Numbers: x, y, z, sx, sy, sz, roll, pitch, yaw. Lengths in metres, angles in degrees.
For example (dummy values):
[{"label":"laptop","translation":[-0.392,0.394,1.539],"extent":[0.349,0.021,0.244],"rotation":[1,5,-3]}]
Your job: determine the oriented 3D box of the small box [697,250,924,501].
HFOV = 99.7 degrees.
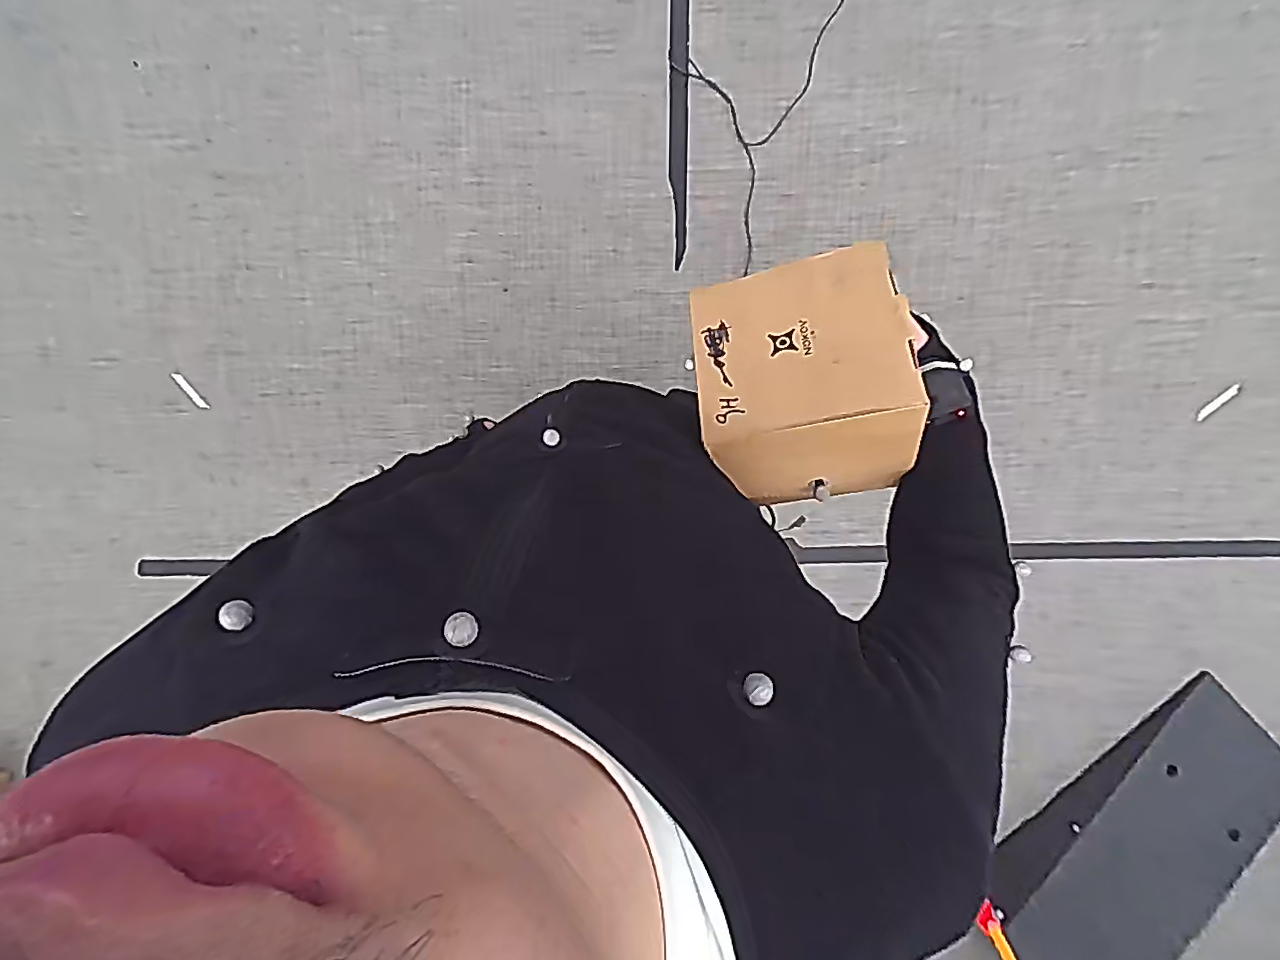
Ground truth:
[{"label":"small box","translation":[0.163,-0.090,0.544],"extent":[0.179,0.176,0.168],"rotation":[-9,64,17]}]
